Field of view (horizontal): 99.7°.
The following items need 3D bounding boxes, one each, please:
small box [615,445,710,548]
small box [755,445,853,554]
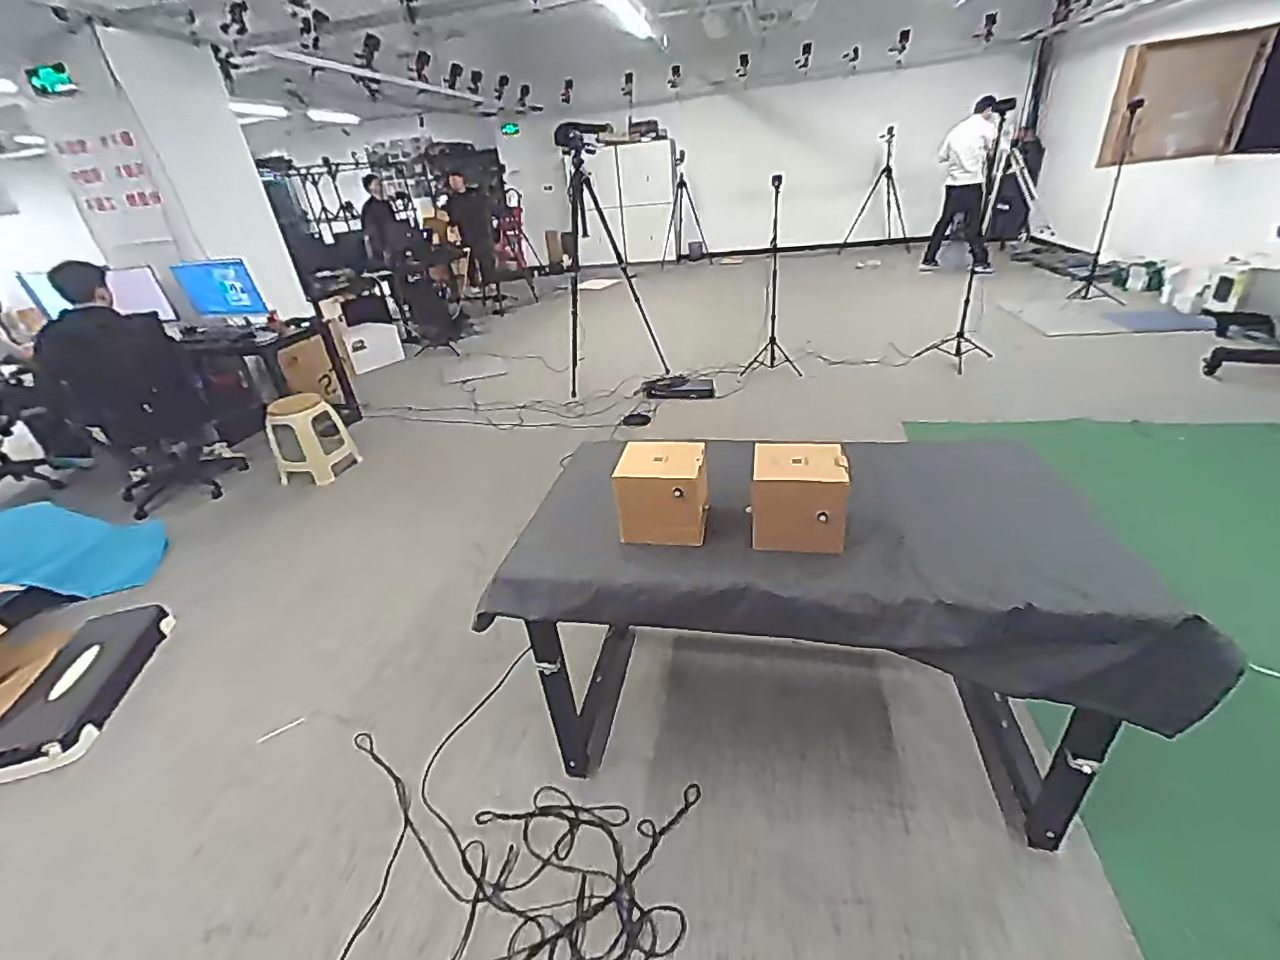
[{"bbox_3d":[0.057,0.034,1.177,0.179,0.176,0.168,1,29,12],"label":"small box"},{"bbox_3d":[0.328,0.039,1.107,0.179,0.176,0.168,0,28,14],"label":"small box"}]
